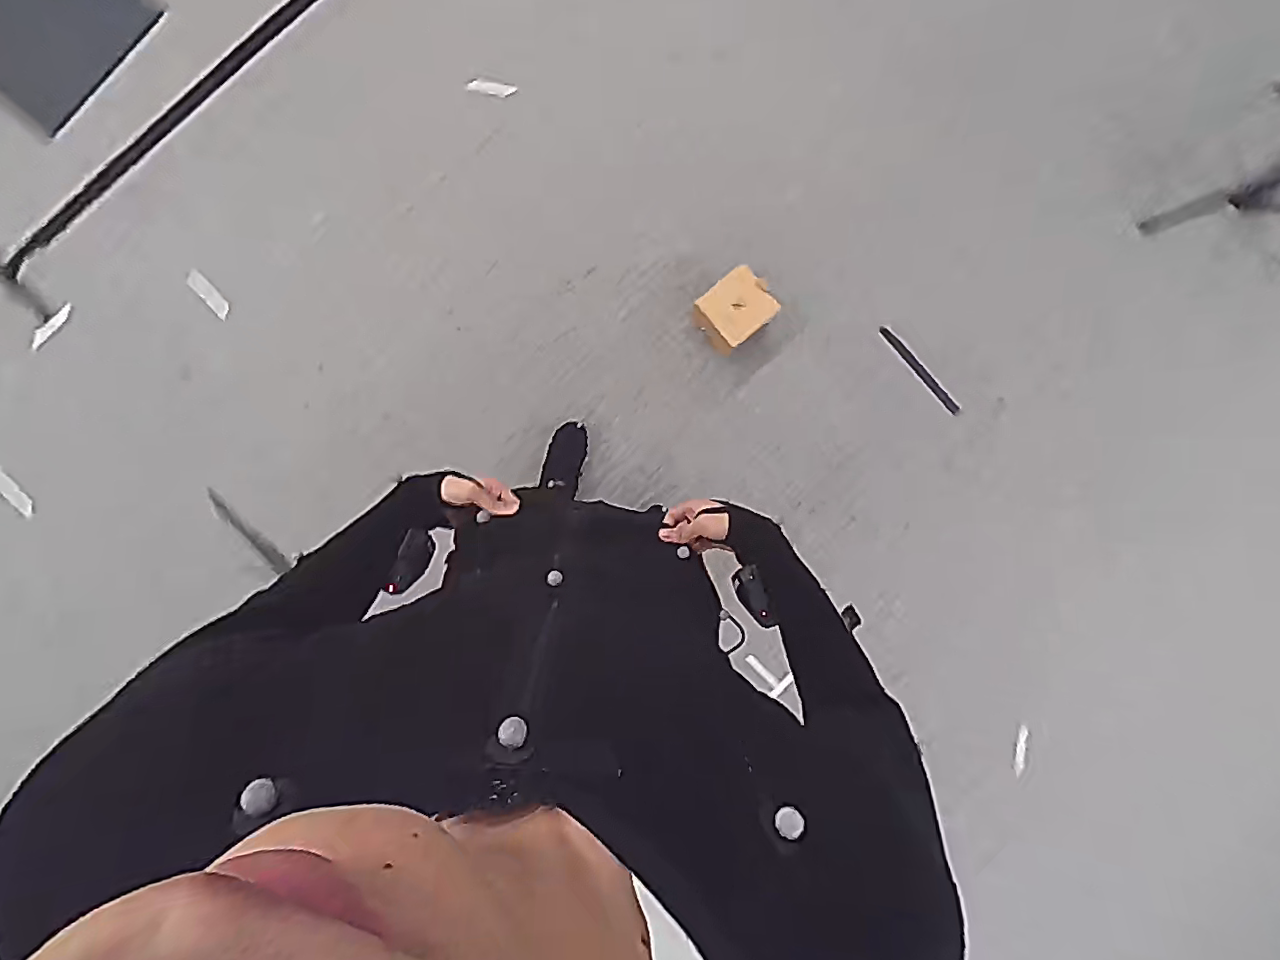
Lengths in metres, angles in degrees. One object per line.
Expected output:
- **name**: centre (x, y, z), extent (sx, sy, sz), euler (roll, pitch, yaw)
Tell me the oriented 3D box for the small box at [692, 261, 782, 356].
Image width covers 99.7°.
- **small box**: centre (0.270, -0.482, 1.545), extent (0.179, 0.176, 0.168), euler (-39, 92, -1)
